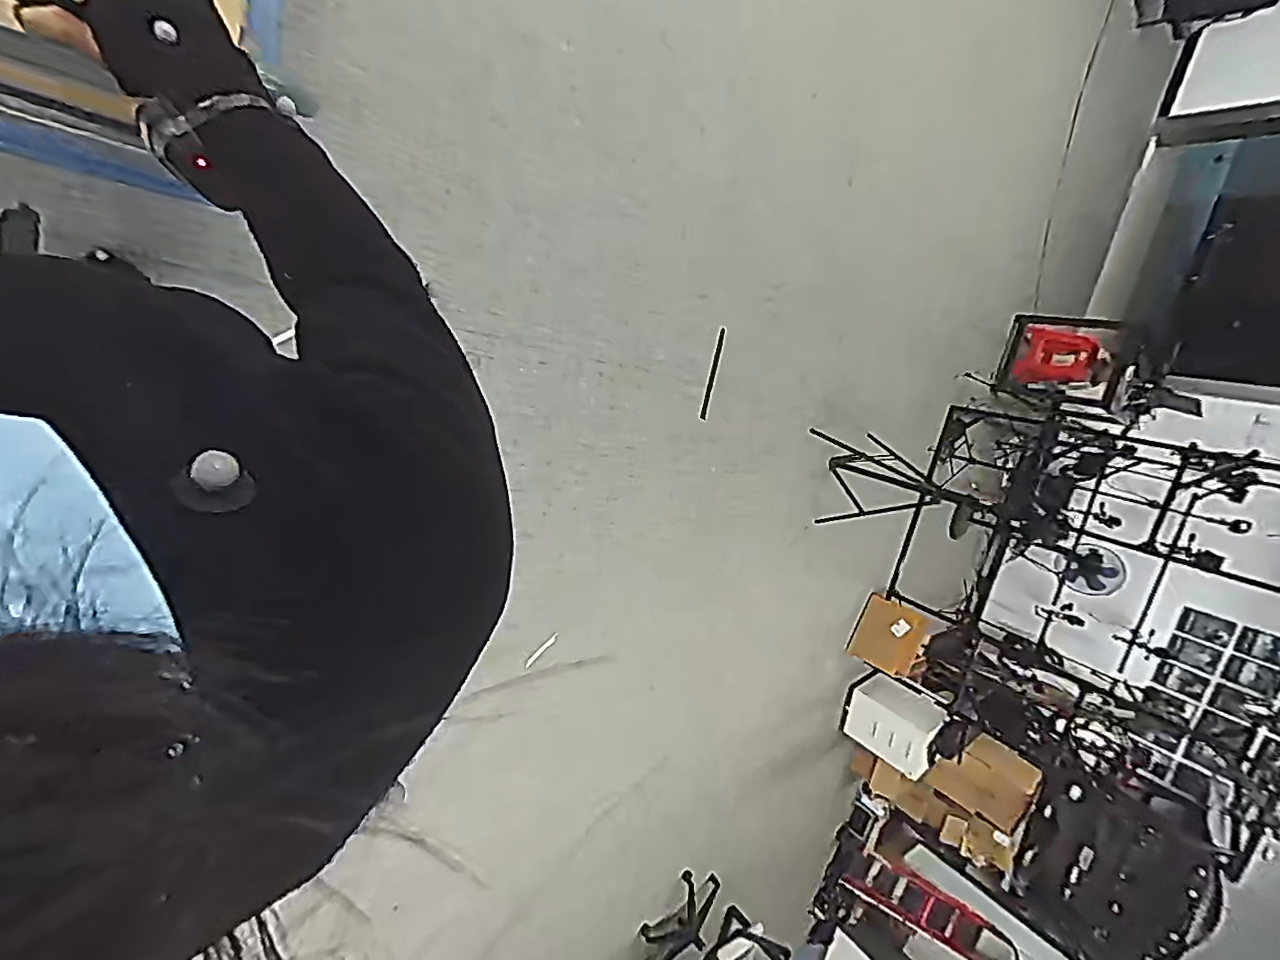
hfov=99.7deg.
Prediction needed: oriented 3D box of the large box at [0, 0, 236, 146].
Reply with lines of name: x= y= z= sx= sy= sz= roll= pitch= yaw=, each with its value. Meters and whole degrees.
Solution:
large box: x=-0.767 y=-0.679 z=0.669 sx=0.408 sy=0.320 sz=0.320 roll=1 pitch=106 yaw=-43
